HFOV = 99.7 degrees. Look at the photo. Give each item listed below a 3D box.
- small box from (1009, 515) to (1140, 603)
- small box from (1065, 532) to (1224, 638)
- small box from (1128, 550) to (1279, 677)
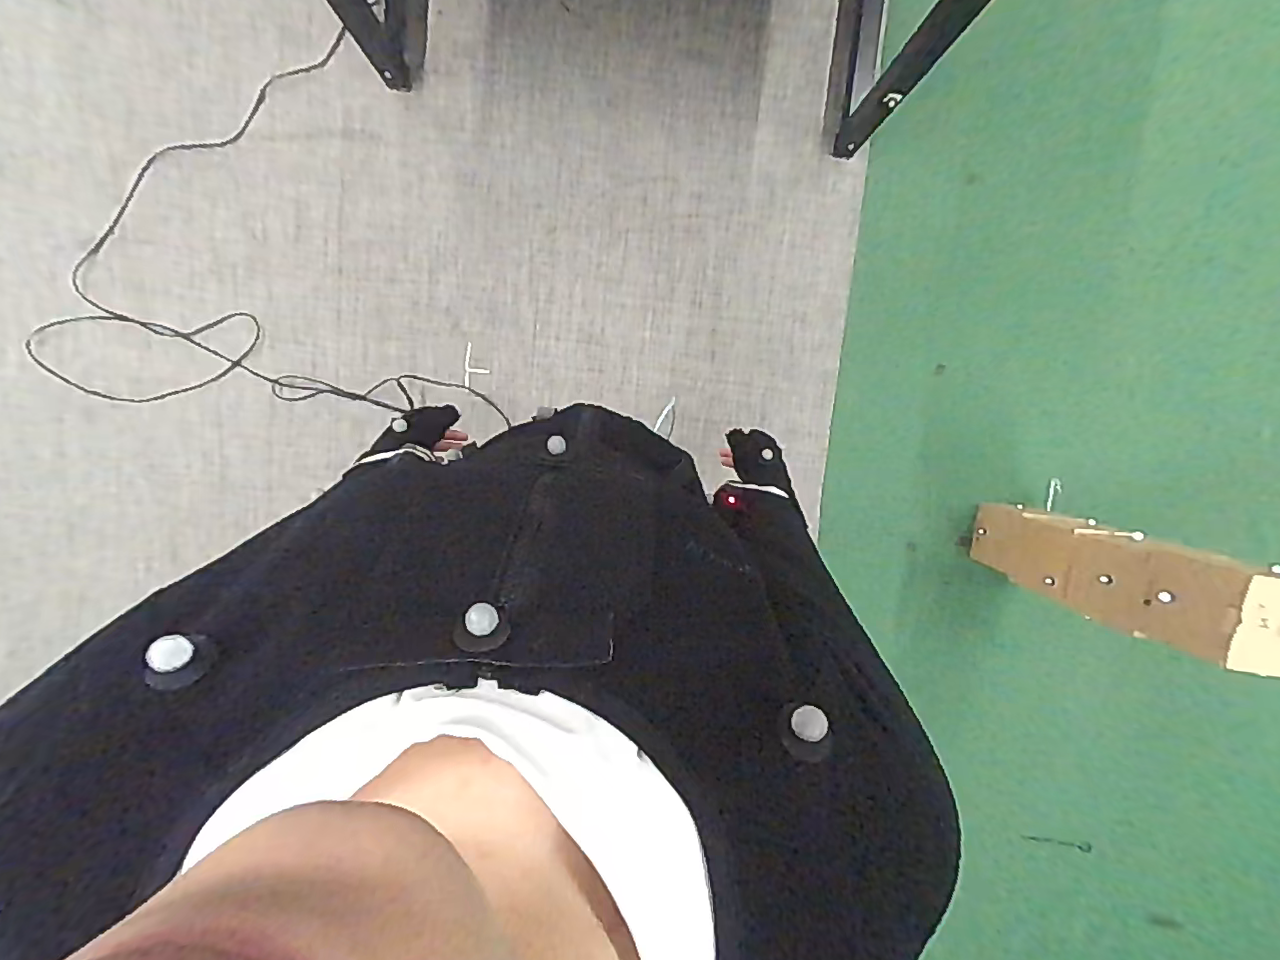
[{"bbox_3d":[1.031,0.188,1.297,0.168,0.176,0.179,6,98,-2],"label":"small box"},{"bbox_3d":[1.044,0.218,1.136,0.168,0.176,0.179,4,98,-2],"label":"small box"},{"bbox_3d":[1.053,0.234,0.972,0.179,0.176,0.168,10,97,-3],"label":"small box"}]
